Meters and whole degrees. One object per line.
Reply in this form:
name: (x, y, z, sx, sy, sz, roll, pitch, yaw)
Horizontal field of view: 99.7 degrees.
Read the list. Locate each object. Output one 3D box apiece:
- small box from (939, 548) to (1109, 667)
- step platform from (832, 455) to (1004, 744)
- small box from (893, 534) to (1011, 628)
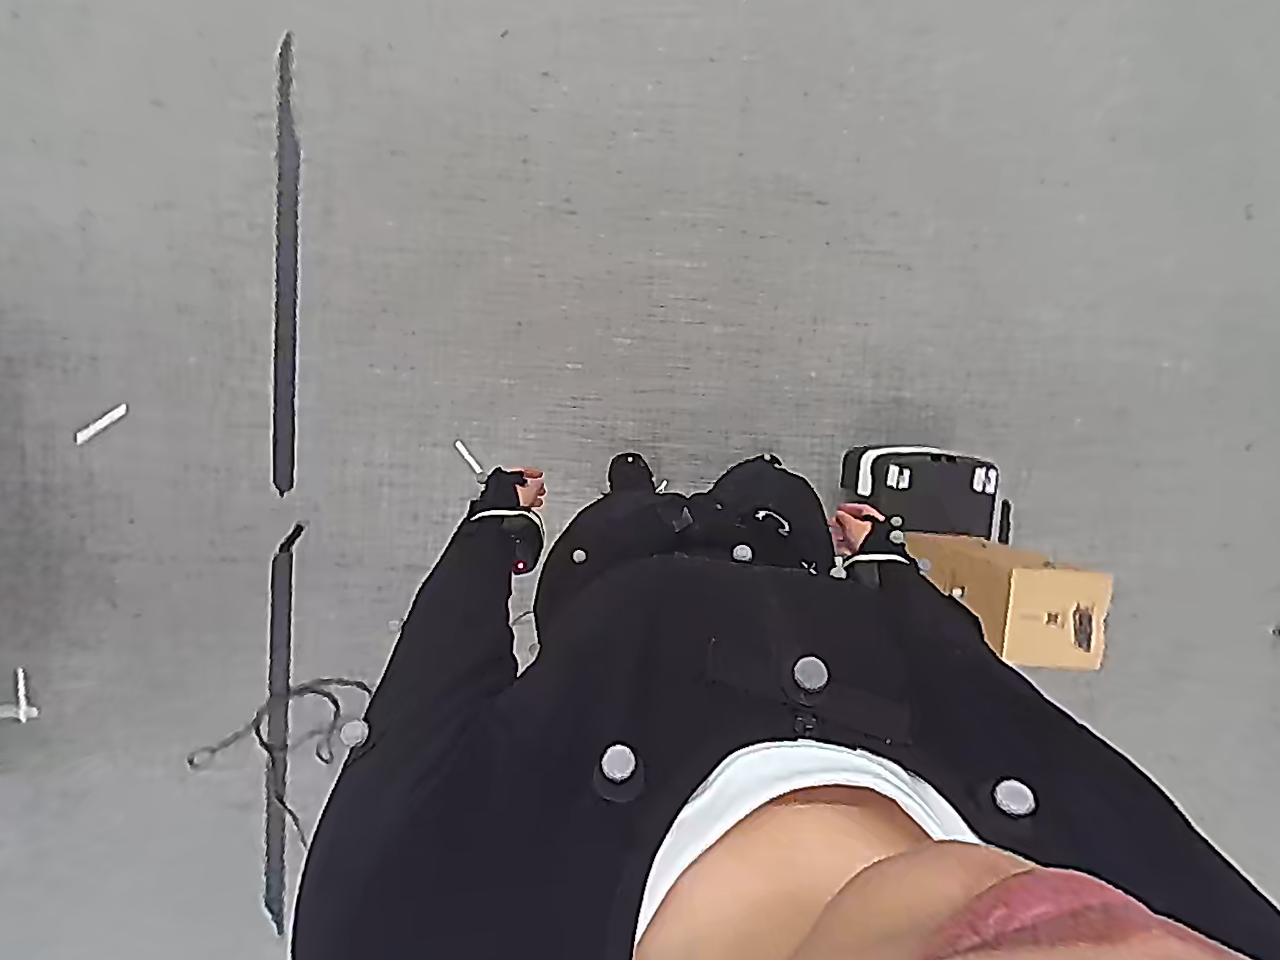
small box: (0.683, 0.222, 0.979, 0.179, 0.176, 0.168, 4, 94, -3)
step platform: (0.672, 0.282, 1.323, 0.286, 0.204, 0.684, 3, 94, -4)
small box: (0.670, 0.211, 1.143, 0.179, 0.176, 0.168, 5, 94, -4)
